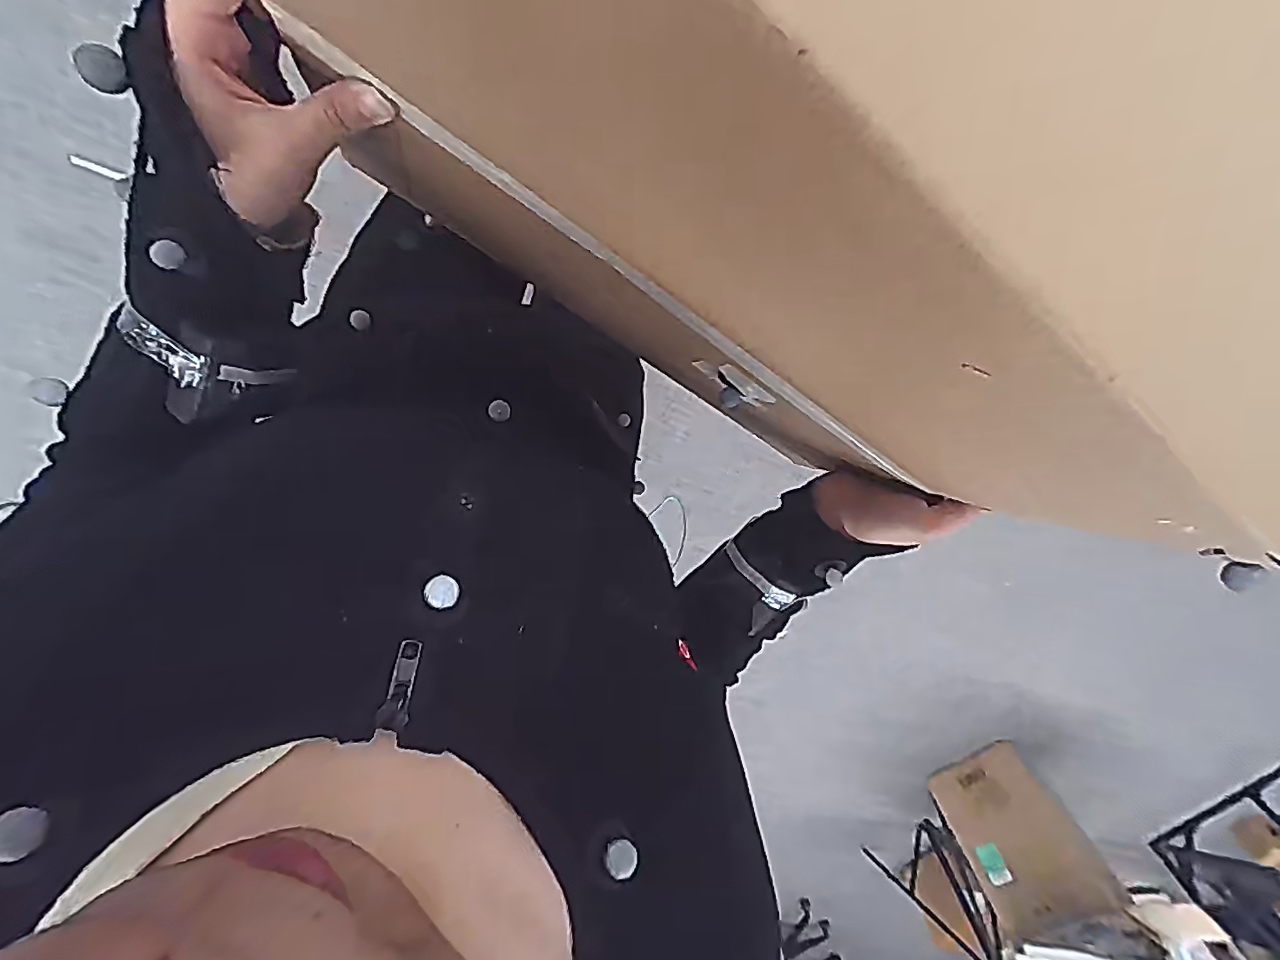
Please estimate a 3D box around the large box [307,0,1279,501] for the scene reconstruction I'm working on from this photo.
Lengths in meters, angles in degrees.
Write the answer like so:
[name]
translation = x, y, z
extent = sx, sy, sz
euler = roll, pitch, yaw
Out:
[large box]
translation = 0.113, -0.233, 0.246
extent = 0.408, 0.320, 0.320
euler = 29, 90, -20
